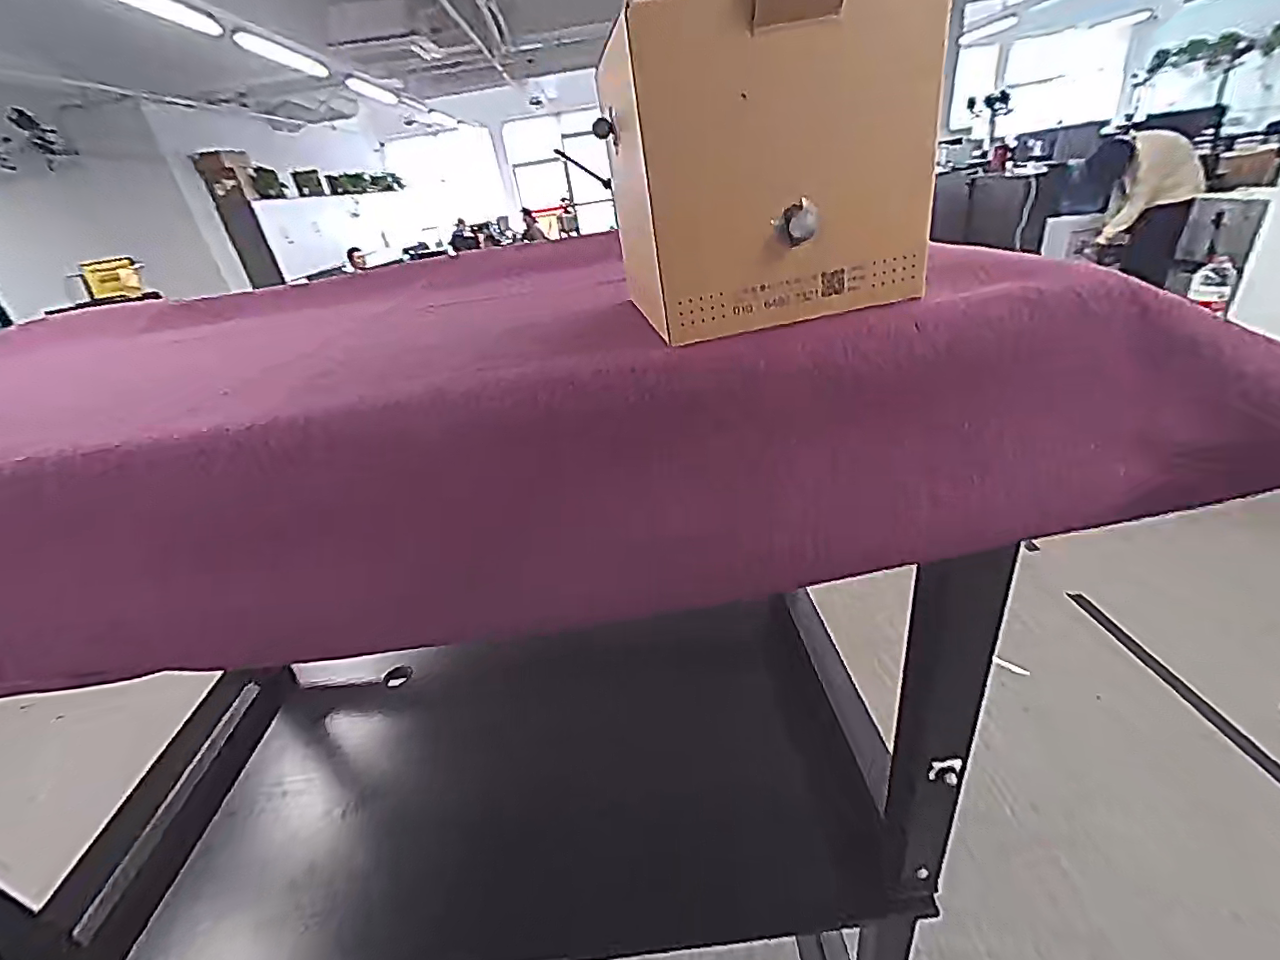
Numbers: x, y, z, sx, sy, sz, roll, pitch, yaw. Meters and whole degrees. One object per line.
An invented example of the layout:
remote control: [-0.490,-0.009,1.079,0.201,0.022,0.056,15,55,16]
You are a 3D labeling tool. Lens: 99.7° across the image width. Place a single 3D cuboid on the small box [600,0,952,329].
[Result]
small box: [0.073,-0.210,0.367,0.168,0.176,0.179,-13,29,-4]
